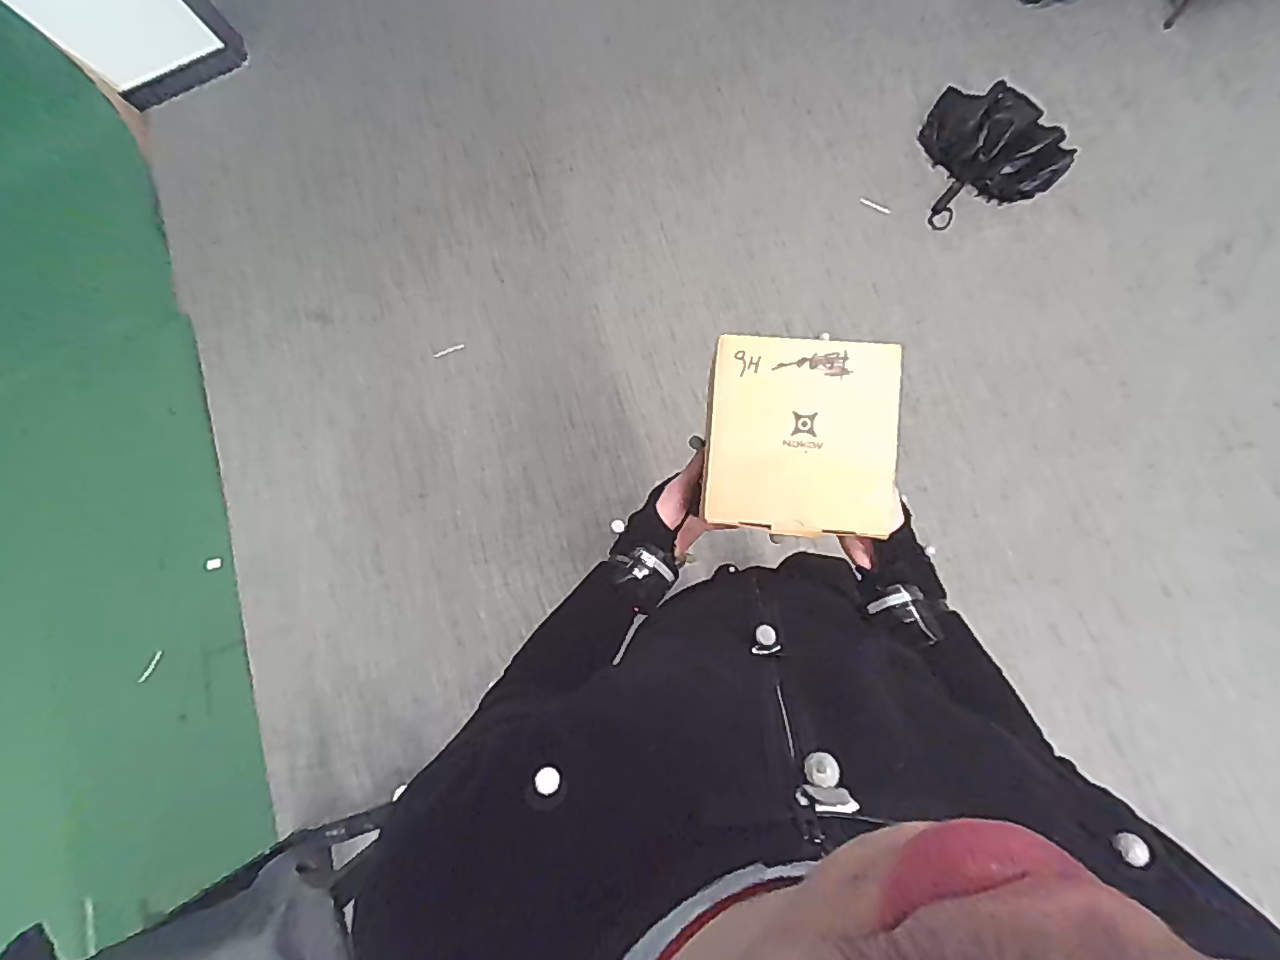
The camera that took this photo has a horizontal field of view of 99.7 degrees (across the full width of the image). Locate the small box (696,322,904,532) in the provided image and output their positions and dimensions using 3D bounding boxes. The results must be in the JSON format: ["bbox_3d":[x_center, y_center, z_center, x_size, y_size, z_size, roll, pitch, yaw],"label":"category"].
[{"bbox_3d":[0.148,-0.045,0.556,0.168,0.176,0.179,5,88,3],"label":"small box"}]
